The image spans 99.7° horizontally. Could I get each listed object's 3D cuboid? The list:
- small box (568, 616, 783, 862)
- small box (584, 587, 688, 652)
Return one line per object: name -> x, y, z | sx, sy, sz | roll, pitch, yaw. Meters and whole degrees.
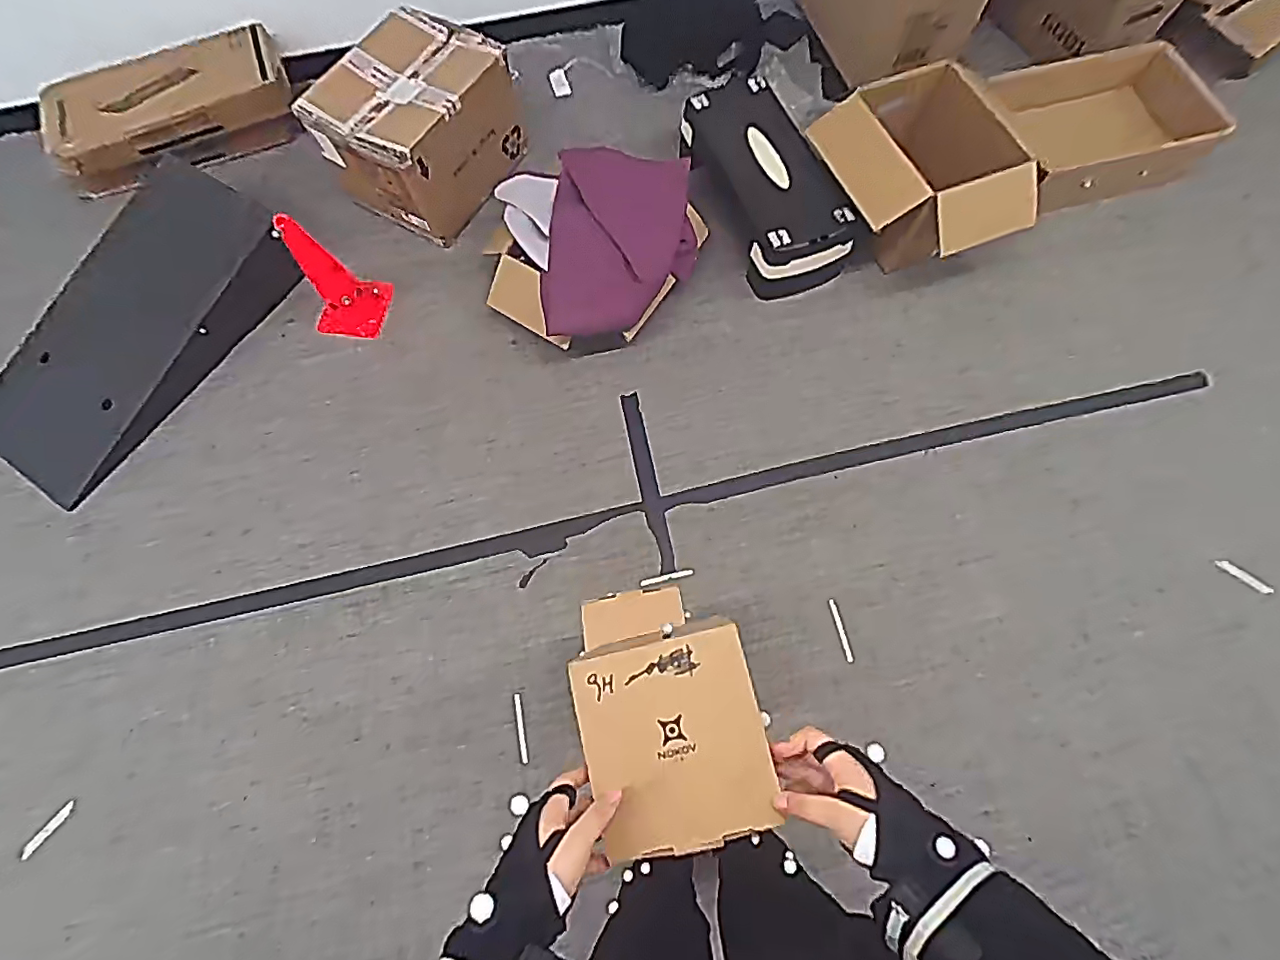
small box -> 0.037, 0.252, 0.569 | 0.168, 0.176, 0.179 | -15, 78, 2
small box -> 0.002, 0.291, 0.925 | 0.168, 0.176, 0.179 | -9, 72, -1
